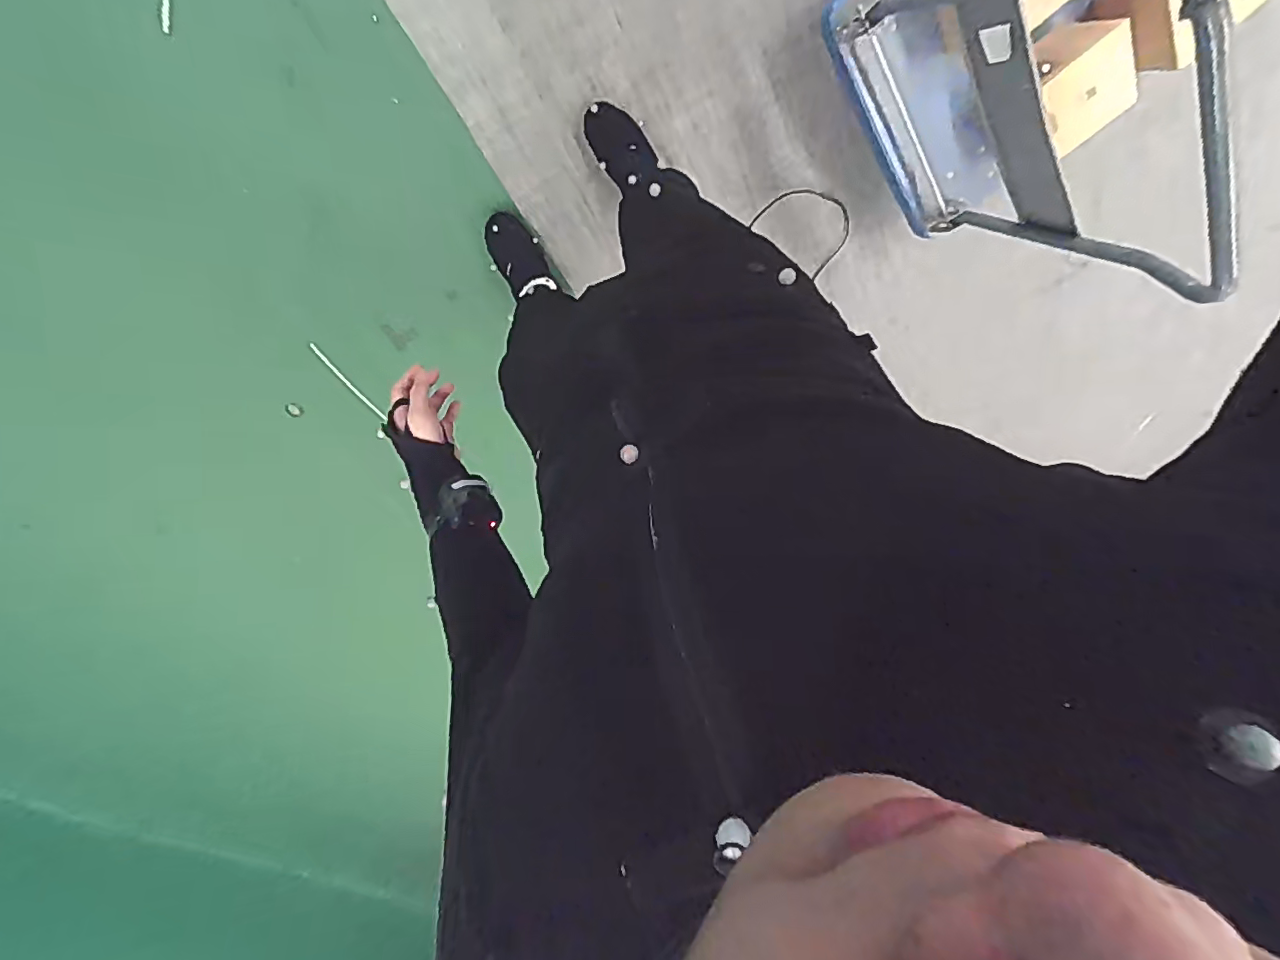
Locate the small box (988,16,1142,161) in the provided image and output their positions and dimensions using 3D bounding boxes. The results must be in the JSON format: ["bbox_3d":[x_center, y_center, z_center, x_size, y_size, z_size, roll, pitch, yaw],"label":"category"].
[{"bbox_3d":[0.870,-0.804,1.115,0.179,0.176,0.168,-37,125,17],"label":"small box"}]

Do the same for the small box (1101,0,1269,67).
[{"bbox_3d":[1.057,-0.946,1.045,0.179,0.176,0.168,-39,124,19],"label":"small box"}]
